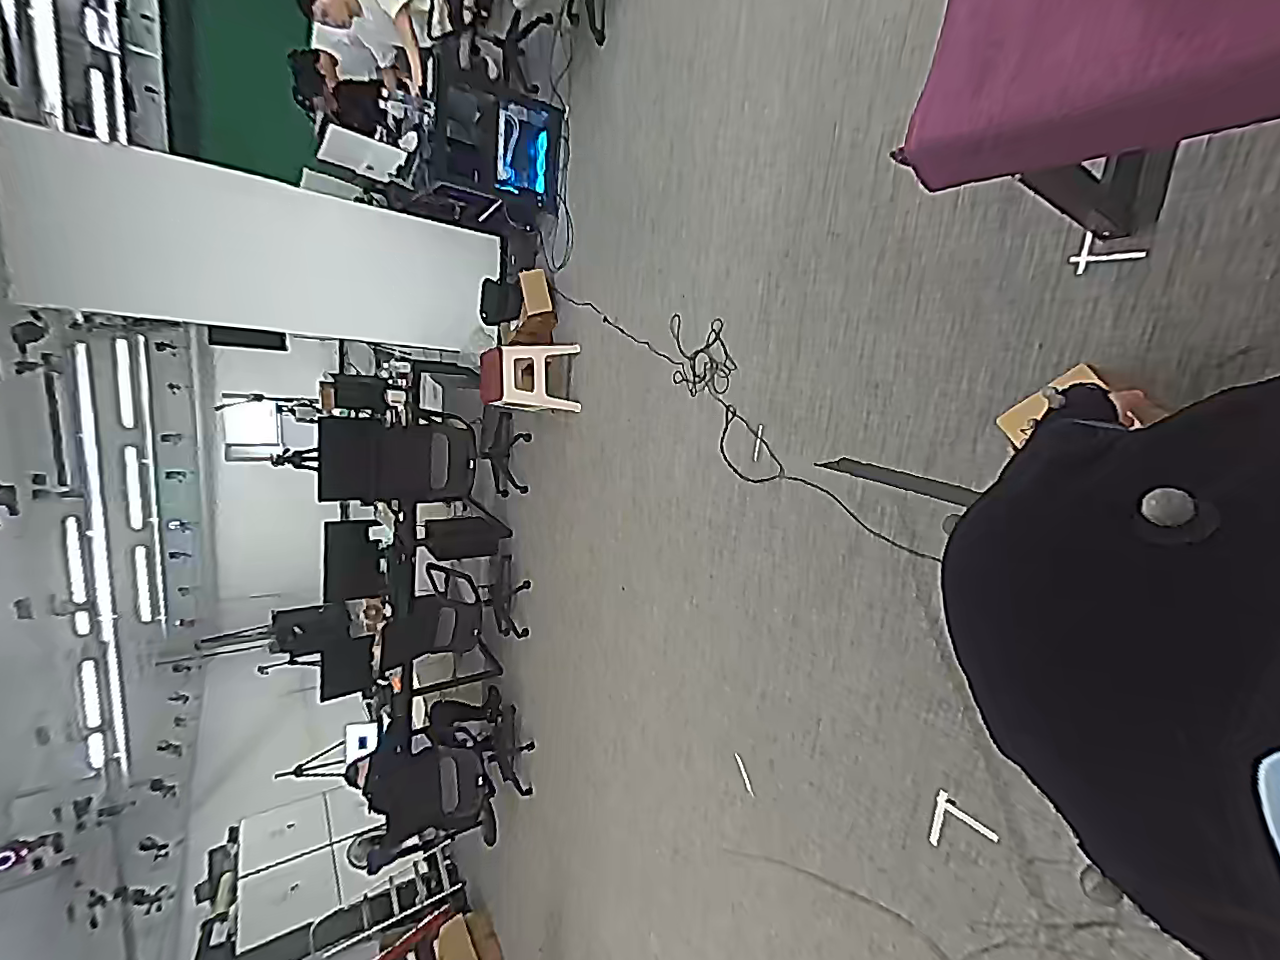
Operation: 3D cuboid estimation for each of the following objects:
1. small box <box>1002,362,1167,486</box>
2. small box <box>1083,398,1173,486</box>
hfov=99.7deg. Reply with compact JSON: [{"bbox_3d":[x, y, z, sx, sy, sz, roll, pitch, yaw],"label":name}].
[{"bbox_3d":[0.858,-0.104,1.041,0.179,0.176,0.168,-48,54,44],"label":"small box"},{"bbox_3d":[0.978,-0.106,1.157,0.168,0.176,0.179,50,130,40],"label":"small box"}]
